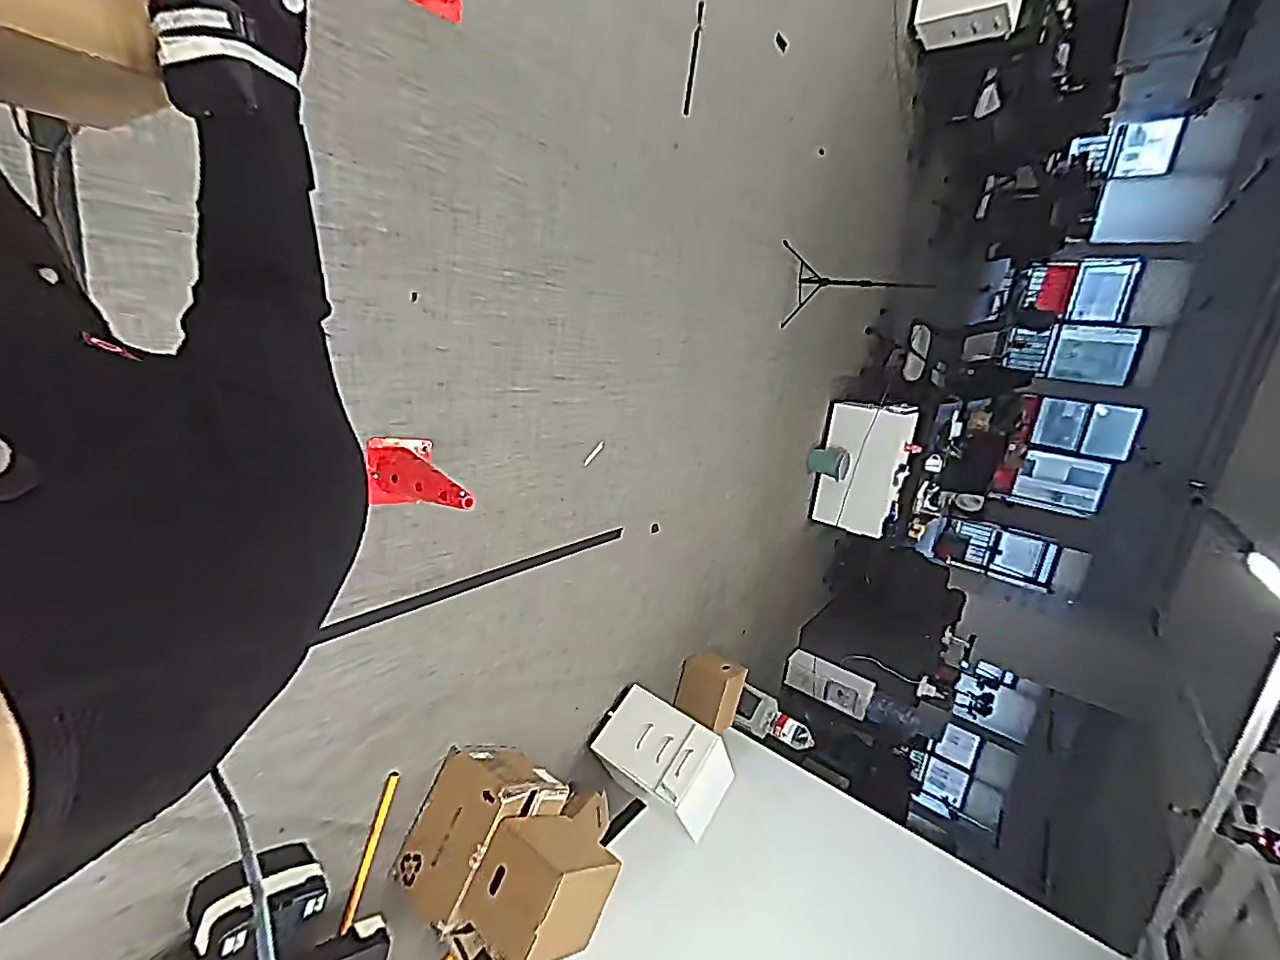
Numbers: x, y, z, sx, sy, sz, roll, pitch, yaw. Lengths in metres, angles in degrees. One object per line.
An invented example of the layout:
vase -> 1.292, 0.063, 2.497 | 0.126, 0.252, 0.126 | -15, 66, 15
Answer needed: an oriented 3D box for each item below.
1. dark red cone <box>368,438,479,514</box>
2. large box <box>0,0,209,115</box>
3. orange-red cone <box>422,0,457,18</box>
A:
dark red cone -> -0.571, 0.017, 1.491 | 0.201, 0.394, 0.202 | -3, 107, -52
large box -> -0.531, -0.442, 0.274 | 0.408, 0.320, 0.320 | -14, 118, -52
orange-red cone -> -0.397, -1.244, 1.222 | 0.198, 0.360, 0.199 | -17, 116, -51
